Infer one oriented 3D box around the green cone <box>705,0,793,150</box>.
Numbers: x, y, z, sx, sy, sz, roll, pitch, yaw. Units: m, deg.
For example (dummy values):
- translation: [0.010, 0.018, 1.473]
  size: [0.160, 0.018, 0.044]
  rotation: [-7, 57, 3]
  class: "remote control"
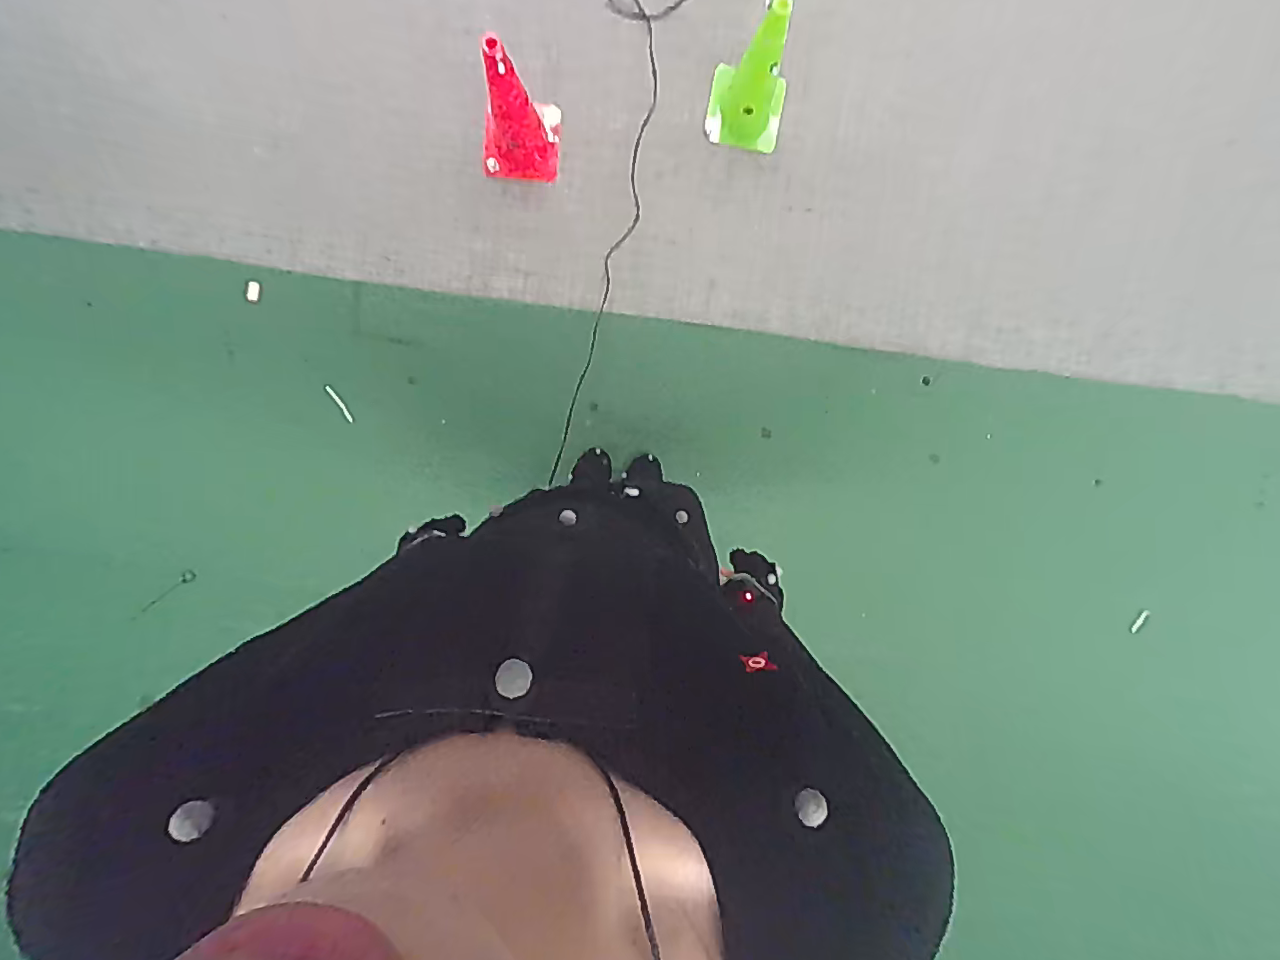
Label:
- translation: [0.293, -1.002, 1.296]
  size: [0.200, 0.368, 0.202]
  rotation: [10, 92, -3]
  class: "green cone"
